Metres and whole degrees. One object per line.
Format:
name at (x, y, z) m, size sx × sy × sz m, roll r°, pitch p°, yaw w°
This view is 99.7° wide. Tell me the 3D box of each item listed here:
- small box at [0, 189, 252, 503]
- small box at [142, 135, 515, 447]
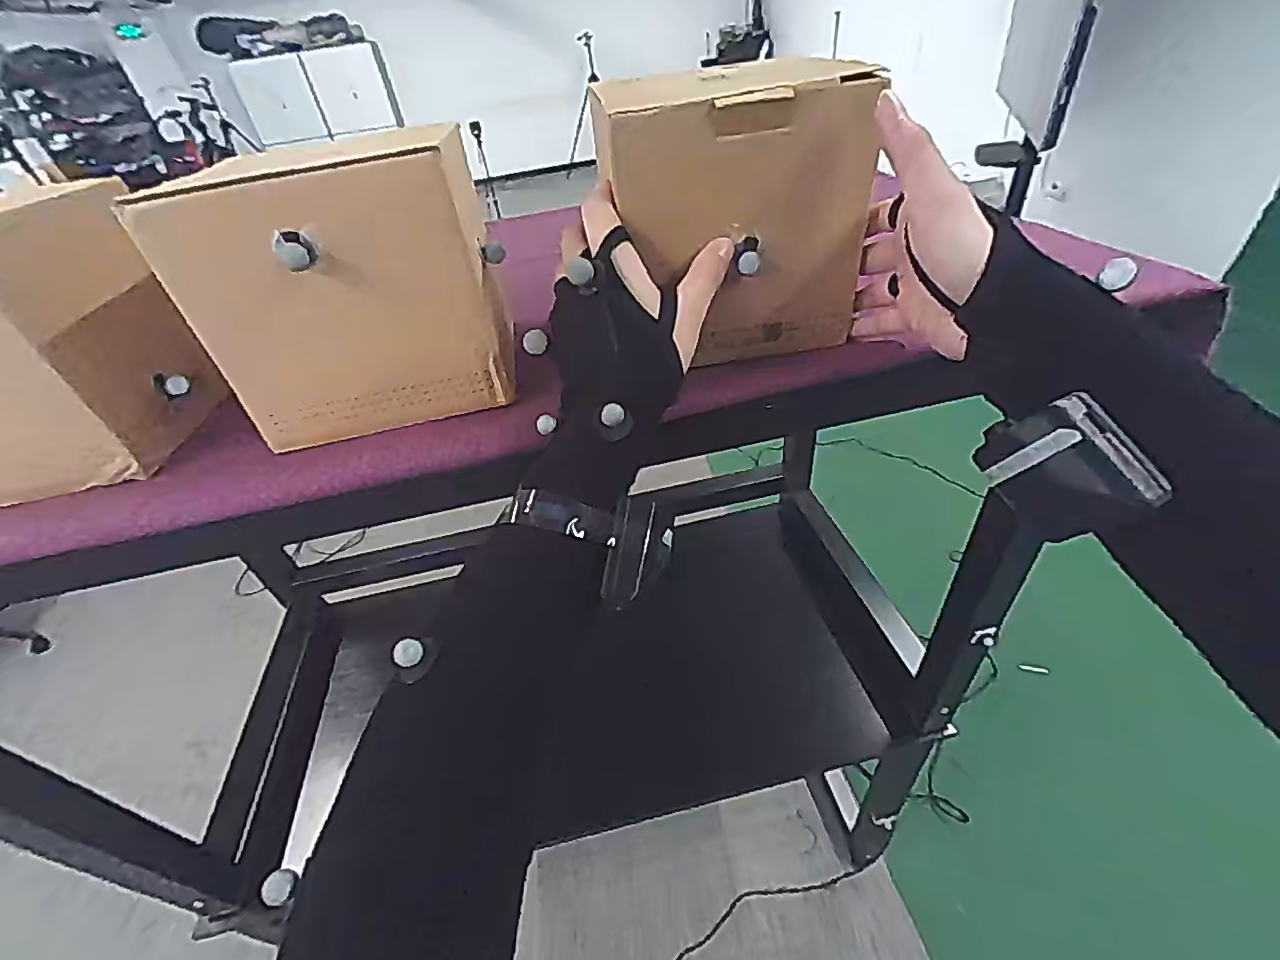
small box at (-0.447, -0.097, 0.400) m, size 0.179 × 0.176 × 0.168 m, roll -10°, pitch 39°, yaw -3°
small box at (-0.199, -0.148, 0.418) m, size 0.179 × 0.176 × 0.168 m, roll -13°, pitch 38°, yaw -5°
